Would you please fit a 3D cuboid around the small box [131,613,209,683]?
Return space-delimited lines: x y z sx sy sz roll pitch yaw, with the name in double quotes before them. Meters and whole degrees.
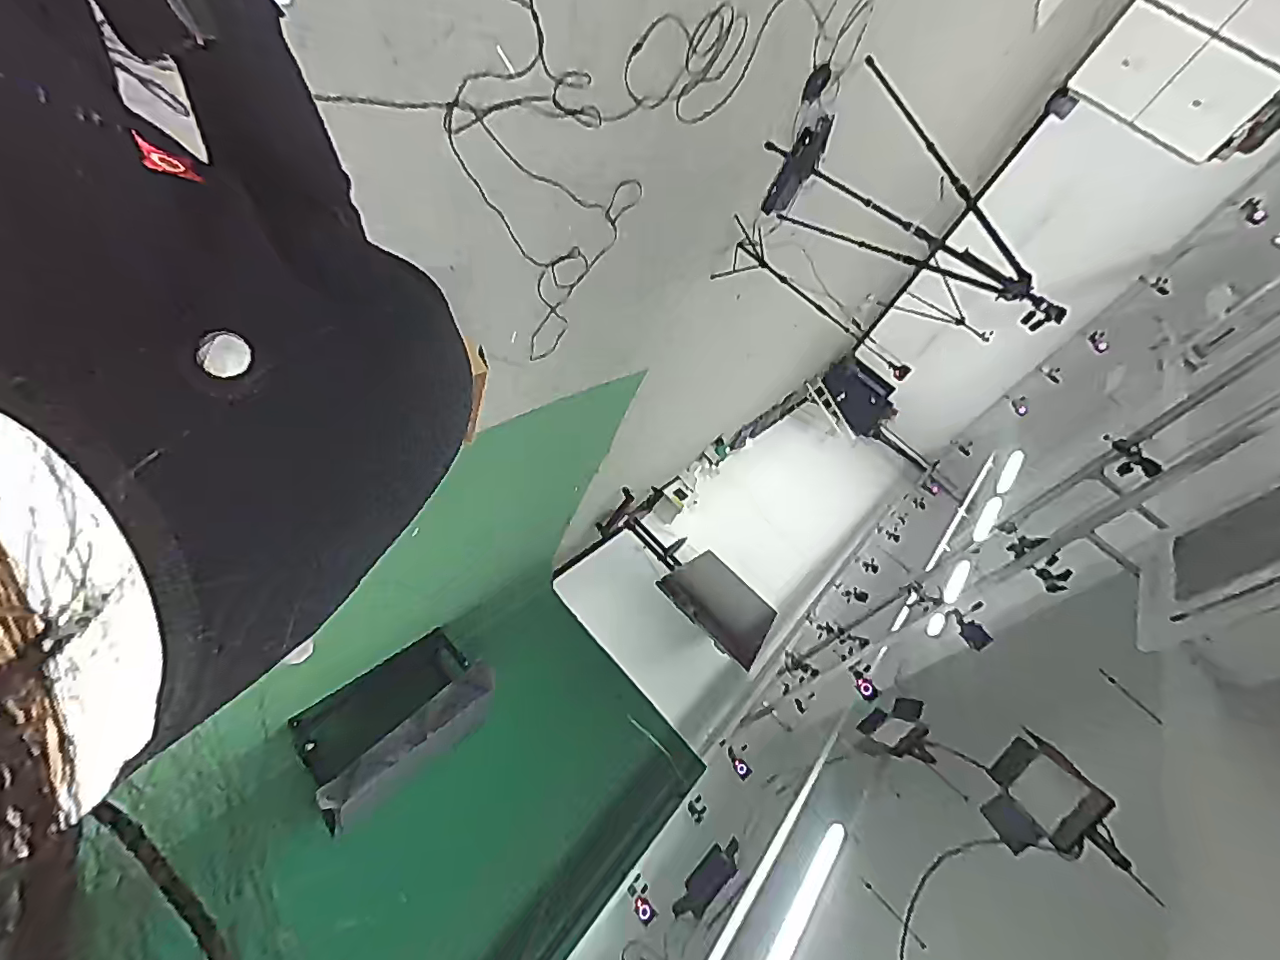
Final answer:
"small box" -1.884 0.669 2.161 0.179 0.176 0.168 -35 163 -40
